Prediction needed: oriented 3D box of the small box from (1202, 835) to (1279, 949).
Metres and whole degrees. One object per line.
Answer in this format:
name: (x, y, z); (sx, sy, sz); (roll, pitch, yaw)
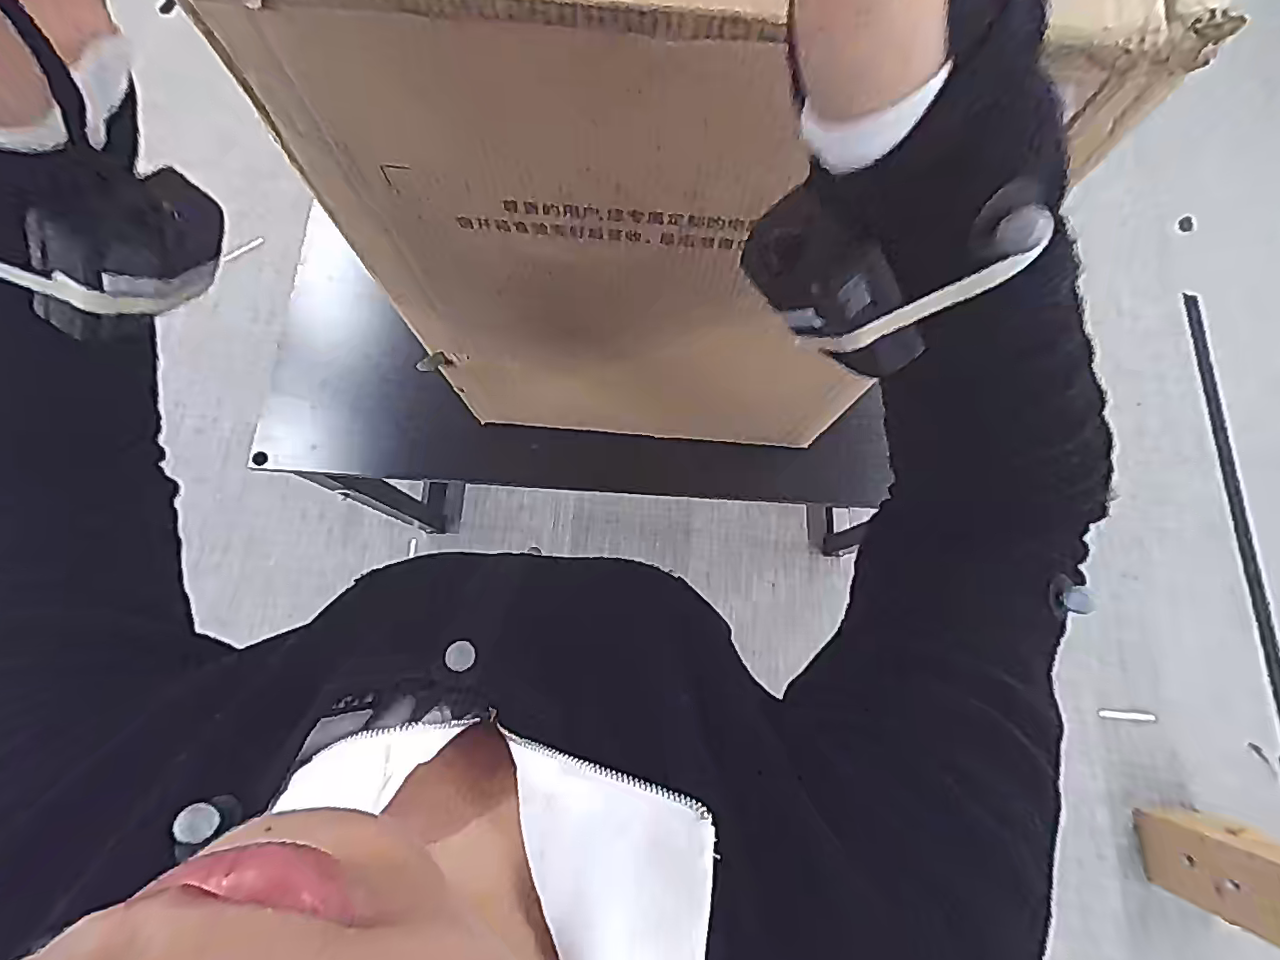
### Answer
small box: (1.371, 0.878, 1.145); (0.179, 0.176, 0.168); (4, 76, 0)

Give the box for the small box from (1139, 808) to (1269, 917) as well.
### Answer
small box: (1.366, 0.914, 1.306); (0.168, 0.176, 0.179); (1, 76, -1)
